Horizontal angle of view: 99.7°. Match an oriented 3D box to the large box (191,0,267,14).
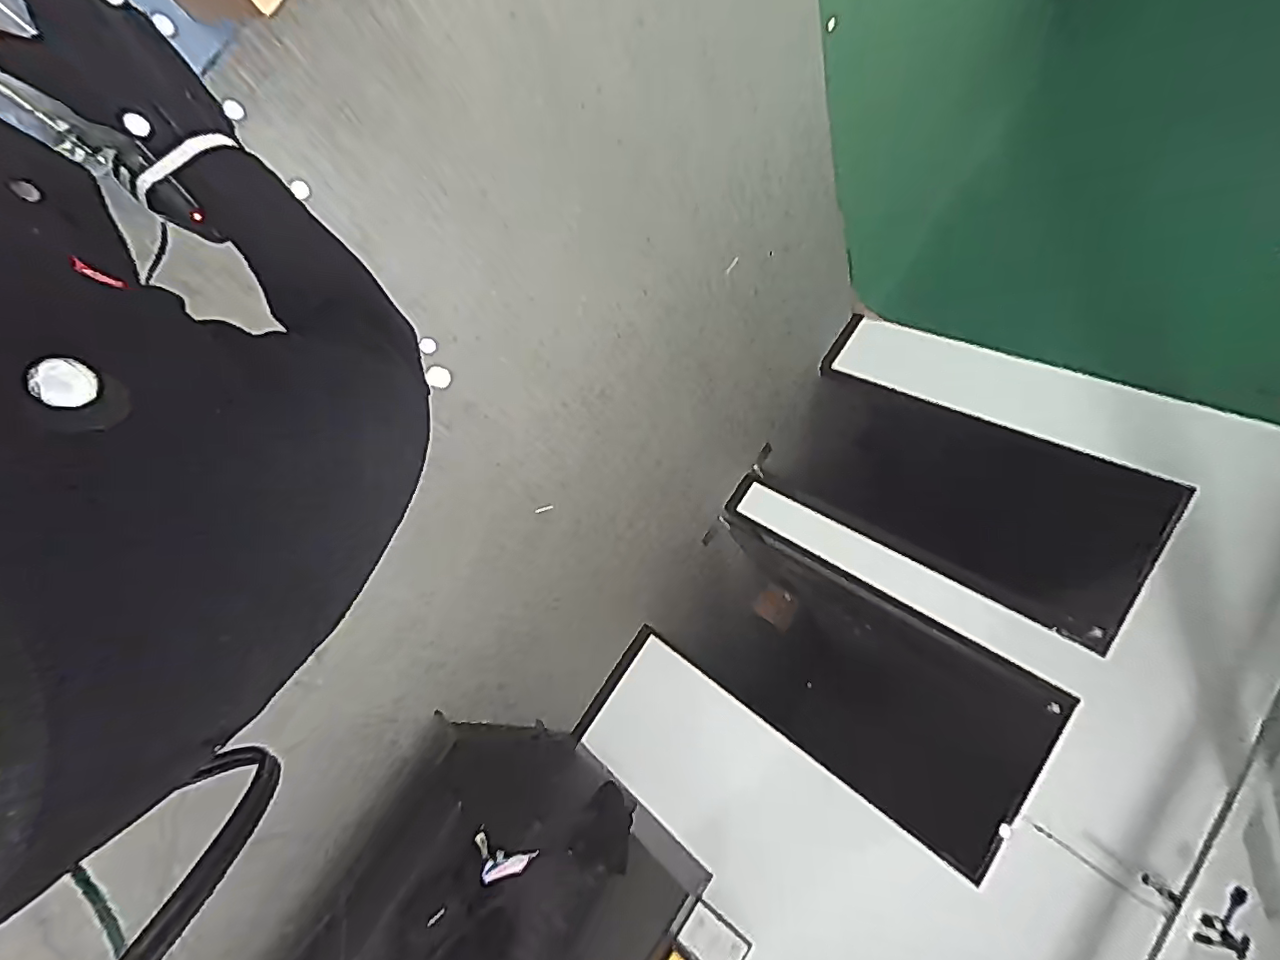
[{"bbox_3d":[-0.602,-0.887,0.646,0.320,0.320,0.408,-56,146,-6],"label":"large box"}]
